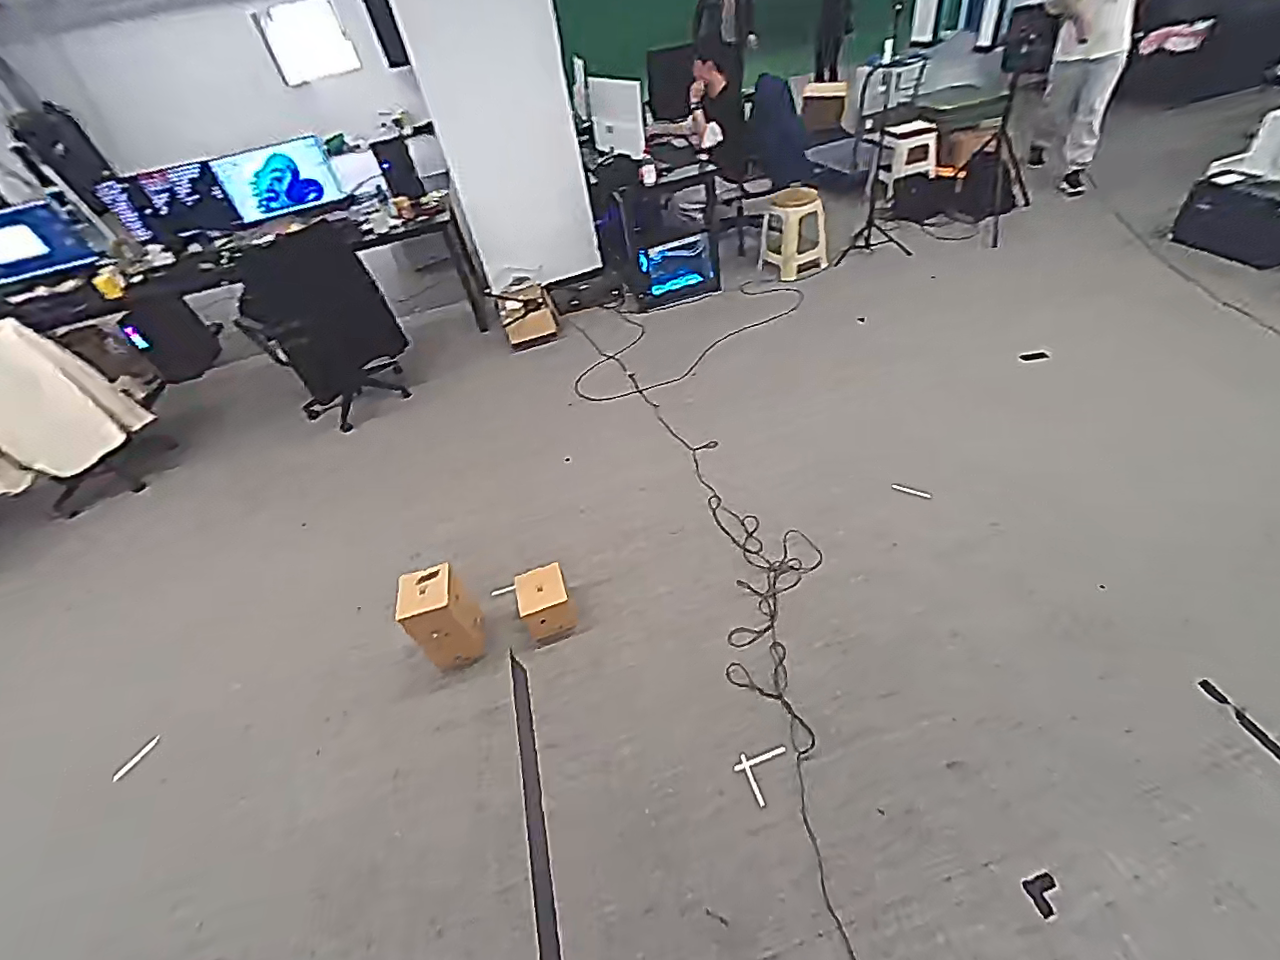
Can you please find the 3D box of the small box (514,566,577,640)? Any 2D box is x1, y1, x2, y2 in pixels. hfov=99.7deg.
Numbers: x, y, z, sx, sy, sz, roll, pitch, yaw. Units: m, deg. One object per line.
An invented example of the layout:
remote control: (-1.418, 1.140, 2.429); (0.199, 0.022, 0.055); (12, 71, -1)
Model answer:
small box: (-0.332, 0.441, 1.909); (0.168, 0.176, 0.179); (-19, 43, -7)

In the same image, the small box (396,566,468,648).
small box: (-0.674, 0.417, 1.768); (0.168, 0.176, 0.179); (-17, 44, -4)
